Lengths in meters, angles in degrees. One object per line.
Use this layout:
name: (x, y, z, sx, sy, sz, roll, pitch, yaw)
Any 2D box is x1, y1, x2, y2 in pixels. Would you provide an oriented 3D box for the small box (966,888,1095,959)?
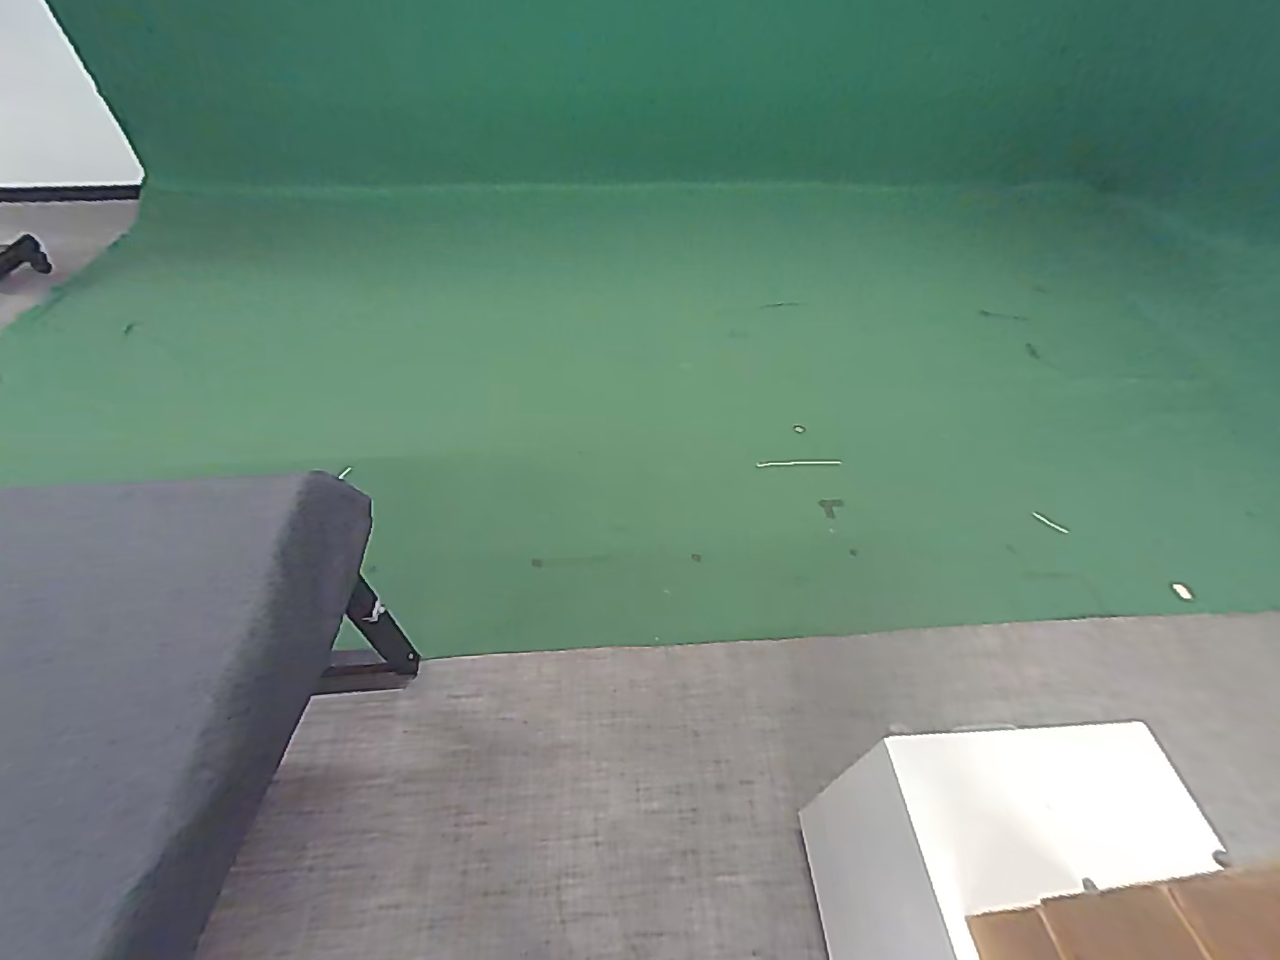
small box: (0.480, 0.520, 0.544, 0.179, 0.176, 0.168, -7, 48, -4)

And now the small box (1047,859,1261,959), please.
small box: (0.485, 0.410, 0.423, 0.179, 0.176, 0.168, -6, 49, -8)

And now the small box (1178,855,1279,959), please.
small box: (0.484, 0.302, 0.299, 0.168, 0.176, 0.179, -7, 48, -6)
